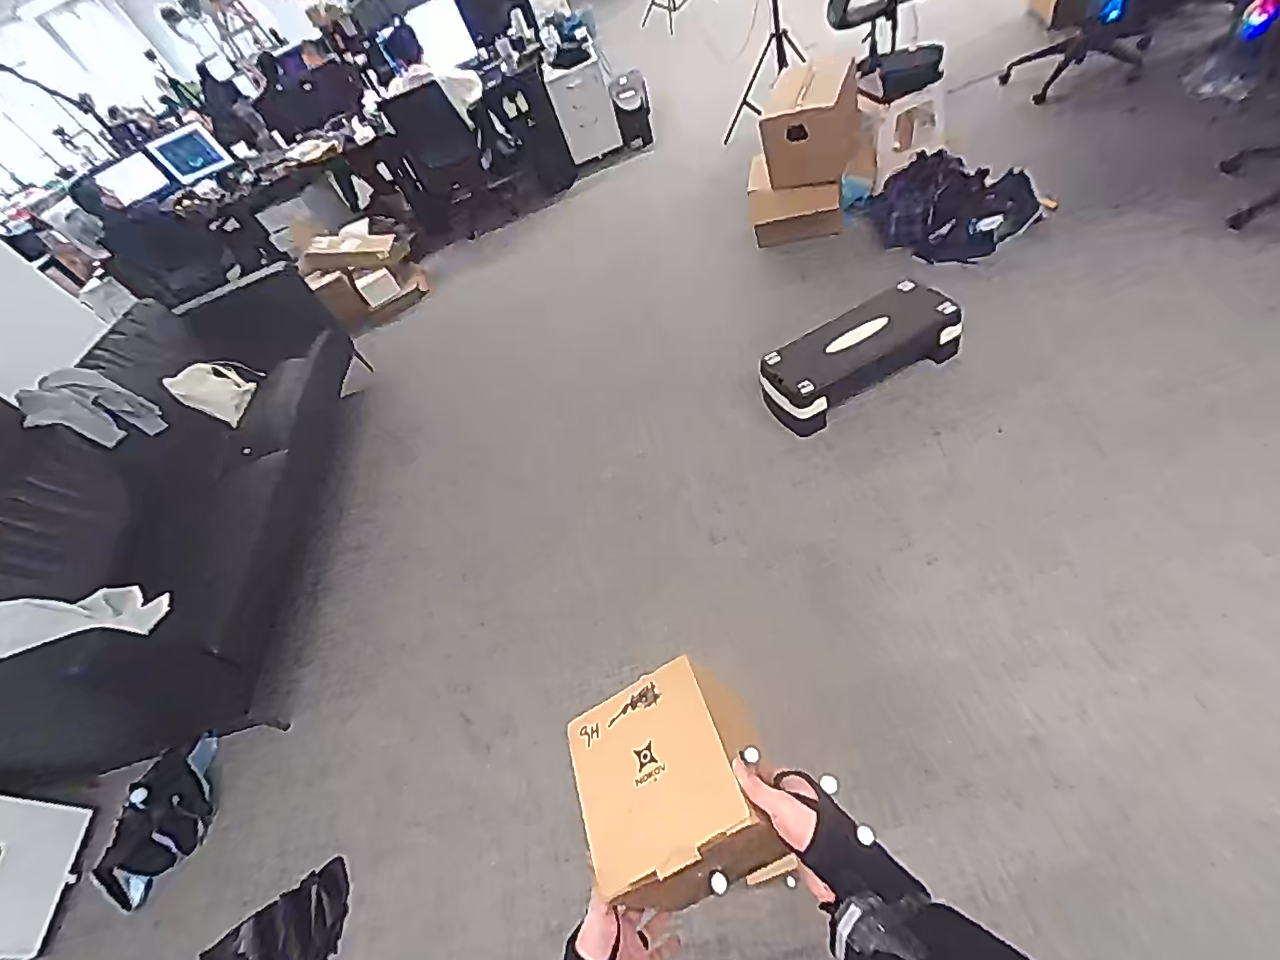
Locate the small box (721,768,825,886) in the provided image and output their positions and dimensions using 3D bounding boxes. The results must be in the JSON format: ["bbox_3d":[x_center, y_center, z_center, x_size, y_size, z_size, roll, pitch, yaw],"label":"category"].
[{"bbox_3d":[0.297,0.778,1.208,0.168,0.176,0.179,-24,48,4],"label":"small box"}]
